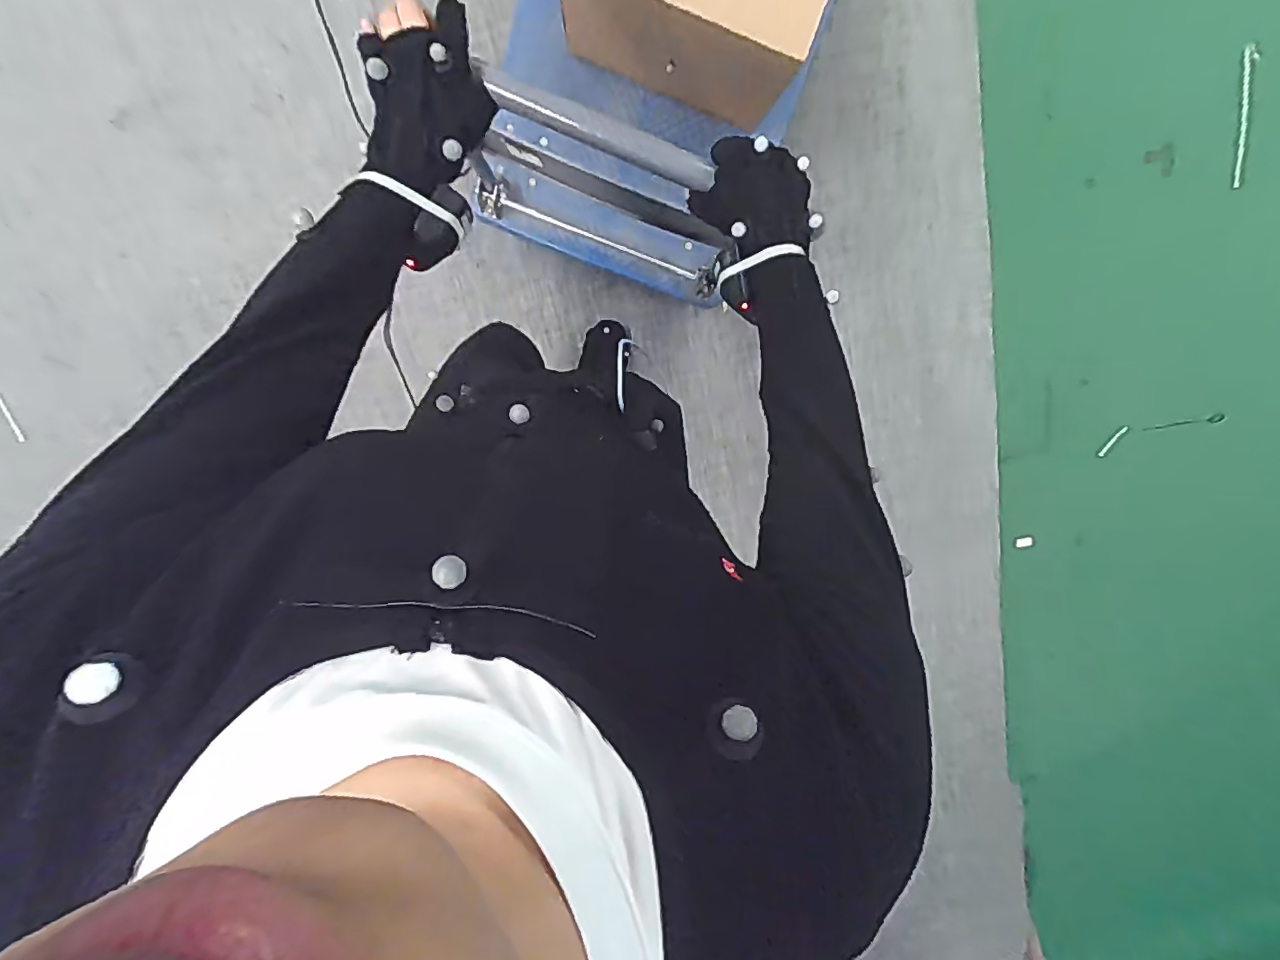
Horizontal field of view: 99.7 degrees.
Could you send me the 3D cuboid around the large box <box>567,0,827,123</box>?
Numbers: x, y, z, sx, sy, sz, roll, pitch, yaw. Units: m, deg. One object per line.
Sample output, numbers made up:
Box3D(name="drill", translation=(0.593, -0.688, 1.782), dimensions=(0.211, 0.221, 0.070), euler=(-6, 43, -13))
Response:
Box3D(name="large box", translation=(0.113, -0.889, 0.921), dimensions=(0.408, 0.320, 0.320), euler=(17, 104, -8))
